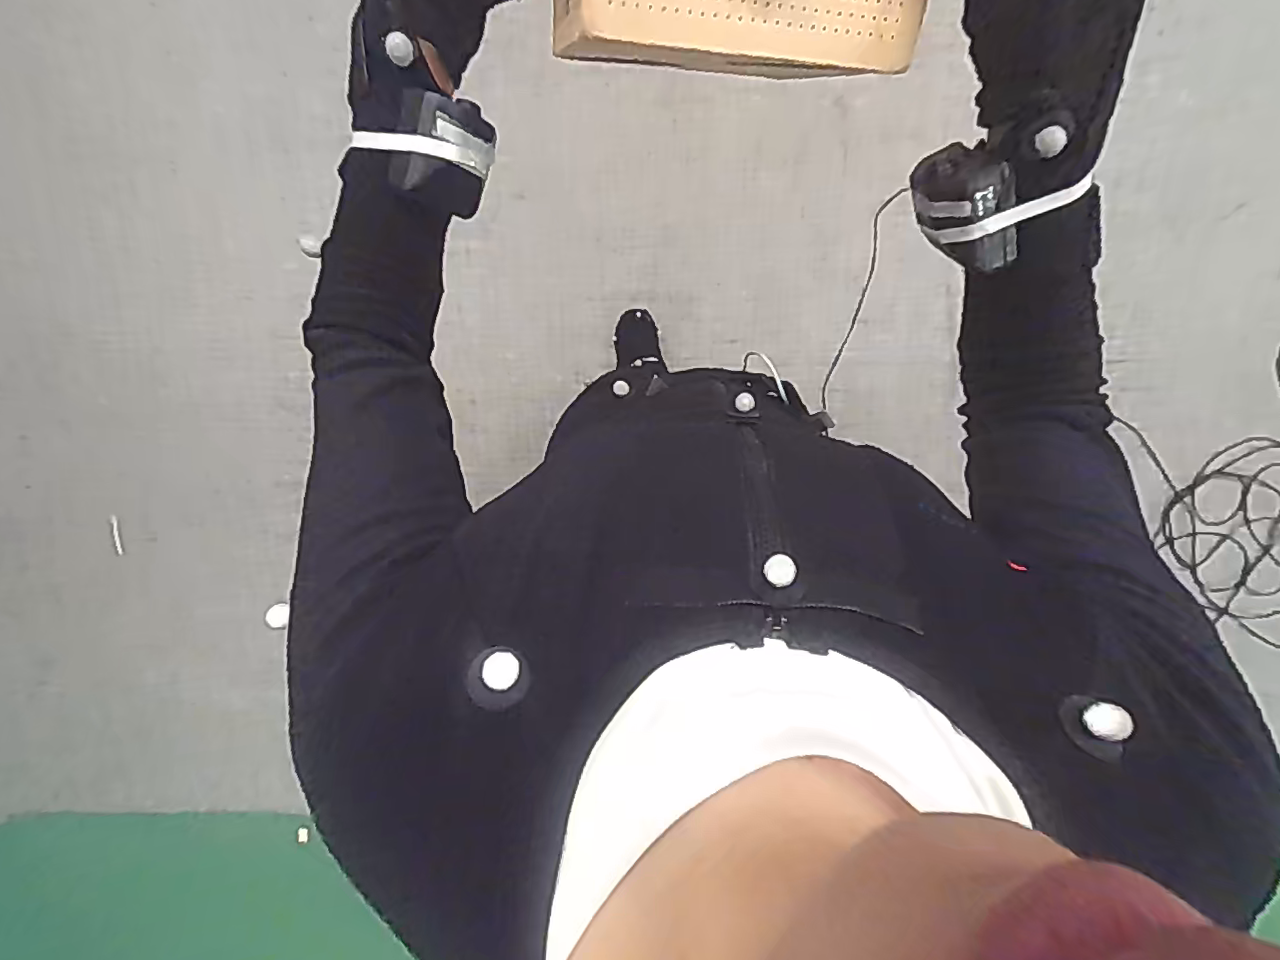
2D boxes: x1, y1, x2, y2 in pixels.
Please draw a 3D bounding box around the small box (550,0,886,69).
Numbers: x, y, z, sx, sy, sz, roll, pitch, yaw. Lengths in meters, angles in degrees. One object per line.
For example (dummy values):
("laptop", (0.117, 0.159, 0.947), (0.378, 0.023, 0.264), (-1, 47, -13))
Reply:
("small box", (0.042, -0.333, 0.292), (0.179, 0.168, 0.176), (-3, 126, -11))
